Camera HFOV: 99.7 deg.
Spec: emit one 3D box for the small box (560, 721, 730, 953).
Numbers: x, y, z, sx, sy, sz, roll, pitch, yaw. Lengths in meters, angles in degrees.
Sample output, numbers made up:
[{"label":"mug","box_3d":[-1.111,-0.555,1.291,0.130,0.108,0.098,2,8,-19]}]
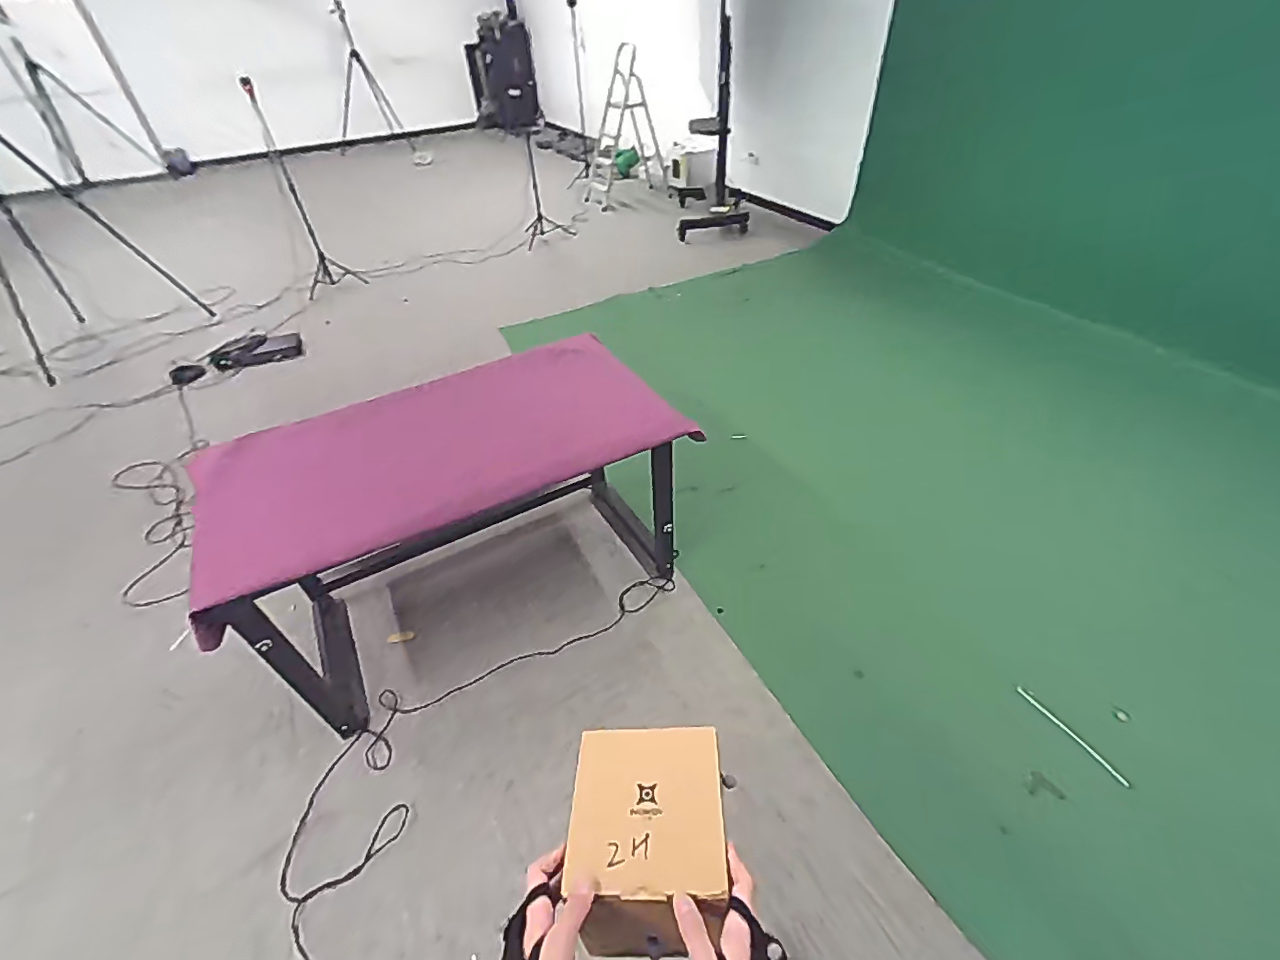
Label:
[{"label":"small box","box_3d":[0.015,0.413,0.635,0.168,0.176,0.179,-5,33,6]}]
